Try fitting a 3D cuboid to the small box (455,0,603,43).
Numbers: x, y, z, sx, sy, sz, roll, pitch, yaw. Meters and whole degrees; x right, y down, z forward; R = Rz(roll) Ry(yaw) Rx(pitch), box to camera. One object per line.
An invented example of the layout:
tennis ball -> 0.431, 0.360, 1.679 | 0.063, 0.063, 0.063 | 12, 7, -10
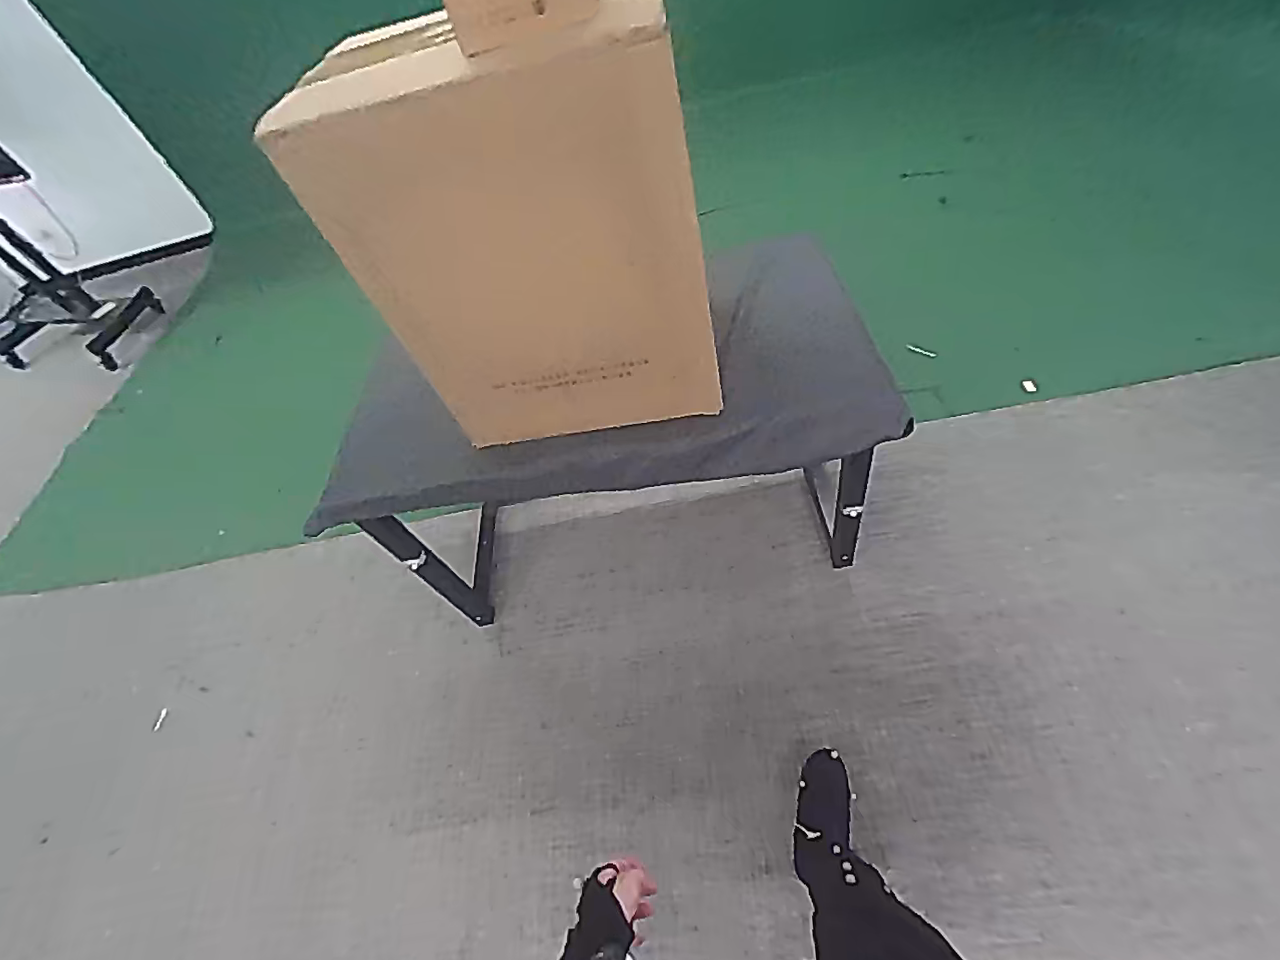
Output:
small box -> -0.140, -0.630, 0.614 | 0.168, 0.176, 0.179 | -9, 54, 4
